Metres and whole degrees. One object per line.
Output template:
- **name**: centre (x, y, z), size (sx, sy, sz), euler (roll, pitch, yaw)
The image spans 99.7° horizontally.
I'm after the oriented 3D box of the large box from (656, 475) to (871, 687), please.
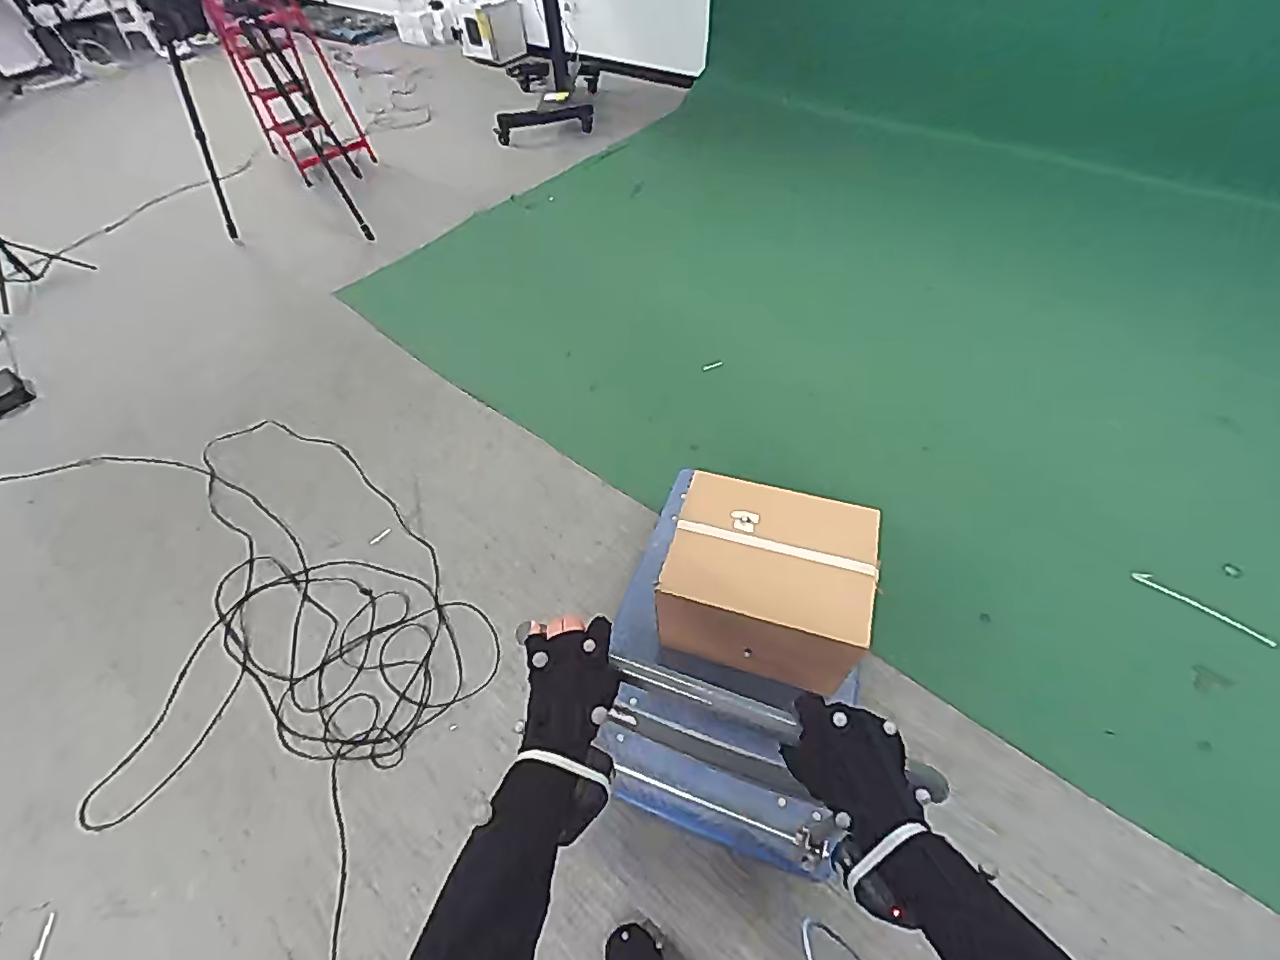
- **large box**: centre (0.276, 0.231, 1.234), size (0.408, 0.320, 0.320), euler (12, 54, 14)
